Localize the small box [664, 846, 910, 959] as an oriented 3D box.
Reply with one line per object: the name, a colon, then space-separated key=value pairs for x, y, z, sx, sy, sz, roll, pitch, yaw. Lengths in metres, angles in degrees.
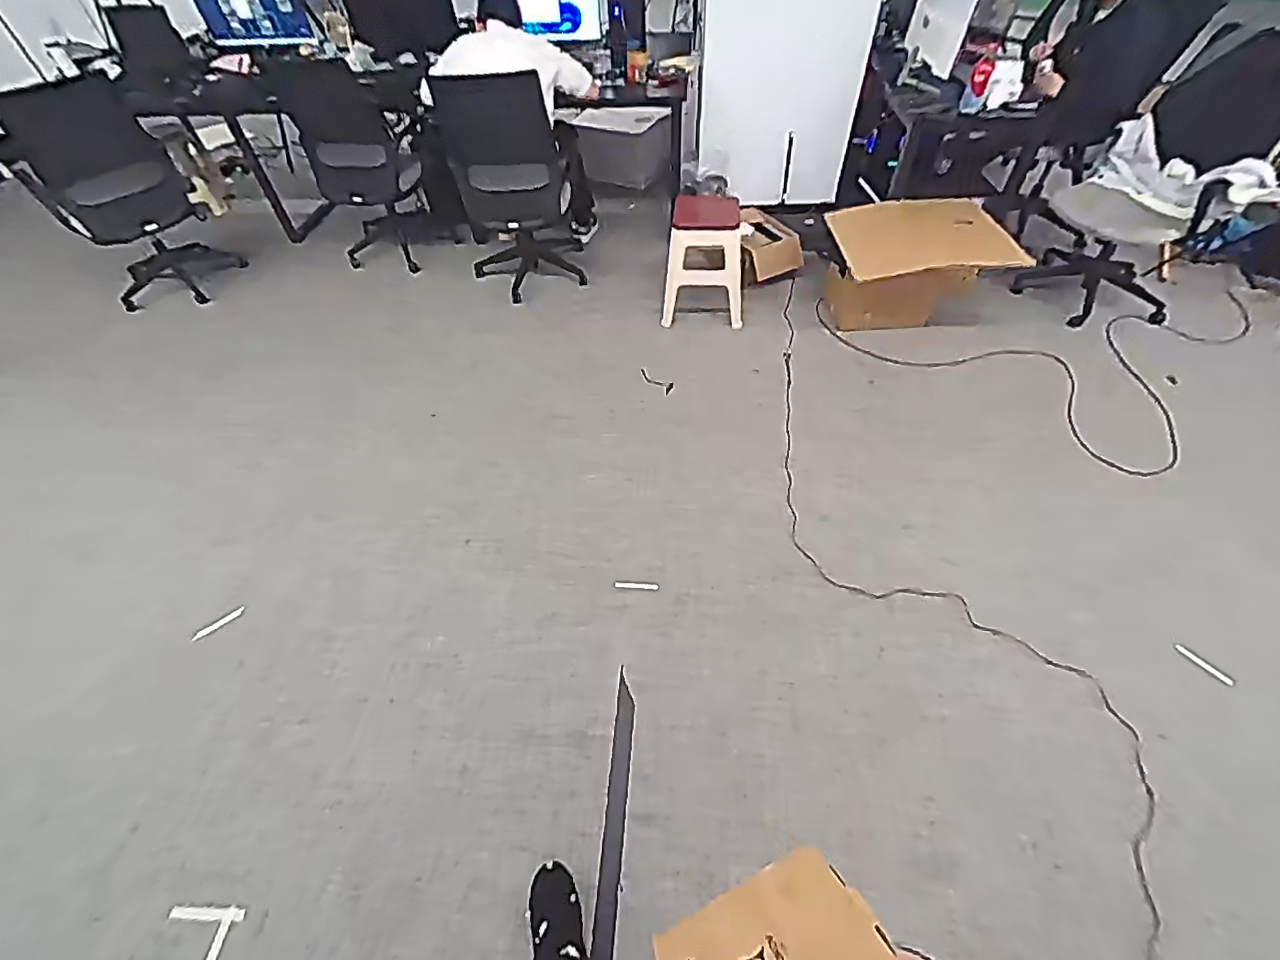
small box: x=0.142 y=0.459 z=0.436 sx=0.179 sy=0.168 sz=0.176 roll=-23 pitch=89 yaw=-9
